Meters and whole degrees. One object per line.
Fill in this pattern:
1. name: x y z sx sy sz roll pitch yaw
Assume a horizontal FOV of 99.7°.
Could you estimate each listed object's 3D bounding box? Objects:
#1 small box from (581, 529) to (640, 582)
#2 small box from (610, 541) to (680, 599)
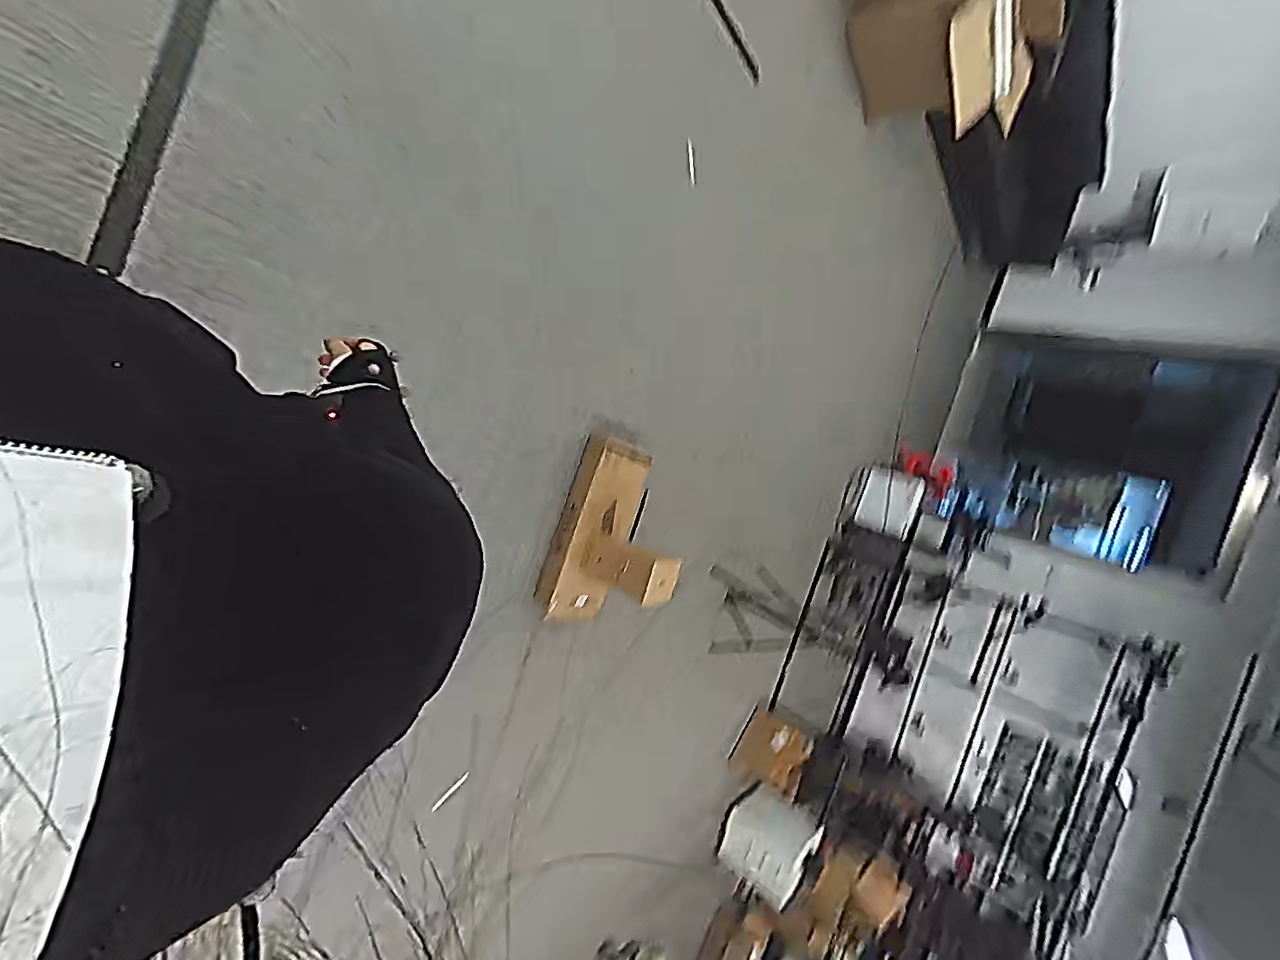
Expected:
1. small box: -0.106 0.297 2.128 0.179 0.176 0.168 13 95 -51
2. small box: 0.017 0.332 2.026 0.179 0.176 0.168 9 97 -51
